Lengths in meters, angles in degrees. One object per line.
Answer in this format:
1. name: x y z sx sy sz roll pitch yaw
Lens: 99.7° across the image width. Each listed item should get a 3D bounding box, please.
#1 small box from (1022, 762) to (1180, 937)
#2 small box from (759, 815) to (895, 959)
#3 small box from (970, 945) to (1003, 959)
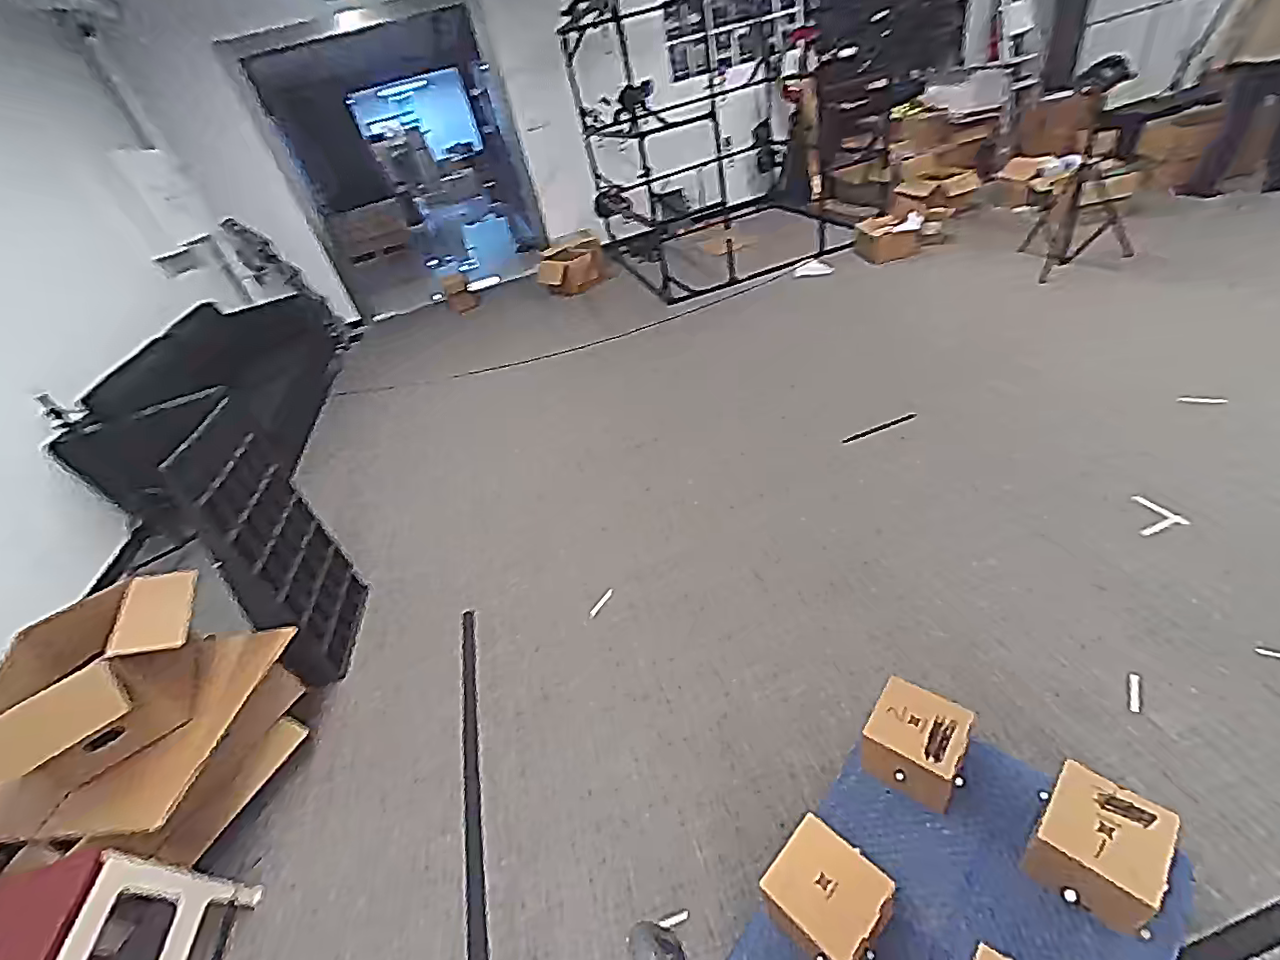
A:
1. small box: 0.828 0.668 0.984 0.168 0.176 0.179 23 51 41
2. small box: 0.345 0.784 1.007 0.168 0.176 0.179 -37 42 -28
3. small box: 0.568 0.867 0.809 0.179 0.176 0.168 19 48 39
